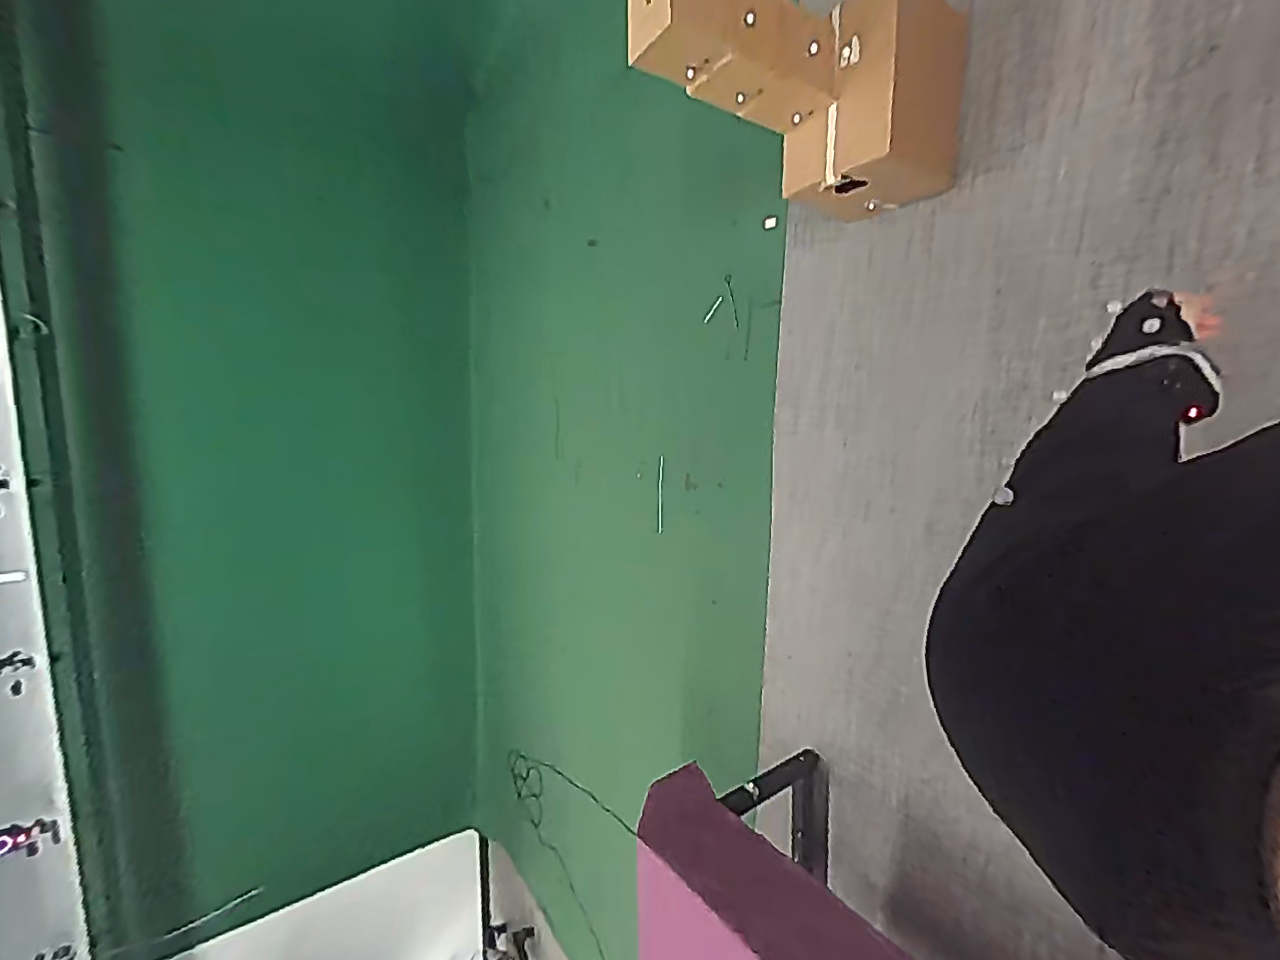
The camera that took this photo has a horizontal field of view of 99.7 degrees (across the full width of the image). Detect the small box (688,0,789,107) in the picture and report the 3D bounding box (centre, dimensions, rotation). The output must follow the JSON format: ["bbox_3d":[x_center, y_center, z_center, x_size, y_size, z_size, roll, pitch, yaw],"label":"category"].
[{"bbox_3d":[0.226,-1.006,1.244,0.168,0.176,0.179,10,103,57],"label":"small box"}]

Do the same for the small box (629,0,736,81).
[{"bbox_3d":[0.092,-1.003,1.151,0.168,0.176,0.179,14,106,57],"label":"small box"}]

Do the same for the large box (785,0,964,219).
[{"bbox_3d":[0.608,-0.967,1.415,0.320,0.320,0.408,10,101,54],"label":"large box"}]
